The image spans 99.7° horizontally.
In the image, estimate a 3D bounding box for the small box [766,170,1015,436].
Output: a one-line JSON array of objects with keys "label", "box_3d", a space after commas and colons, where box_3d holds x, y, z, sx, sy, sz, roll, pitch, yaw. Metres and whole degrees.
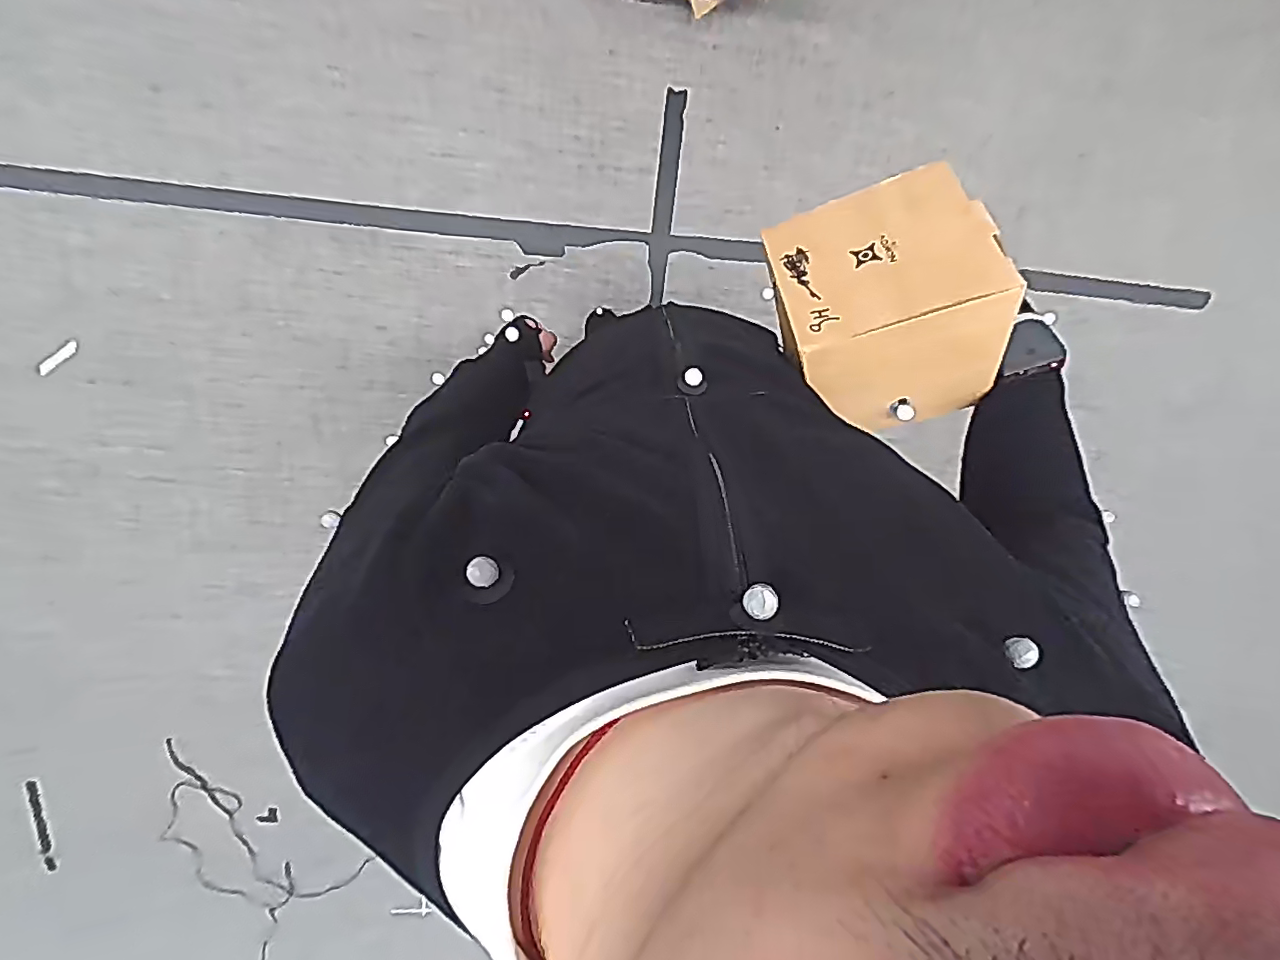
[{"label": "small box", "box_3d": [0.243, -0.170, 0.563, 0.179, 0.168, 0.176, -15, 149, 15]}]
